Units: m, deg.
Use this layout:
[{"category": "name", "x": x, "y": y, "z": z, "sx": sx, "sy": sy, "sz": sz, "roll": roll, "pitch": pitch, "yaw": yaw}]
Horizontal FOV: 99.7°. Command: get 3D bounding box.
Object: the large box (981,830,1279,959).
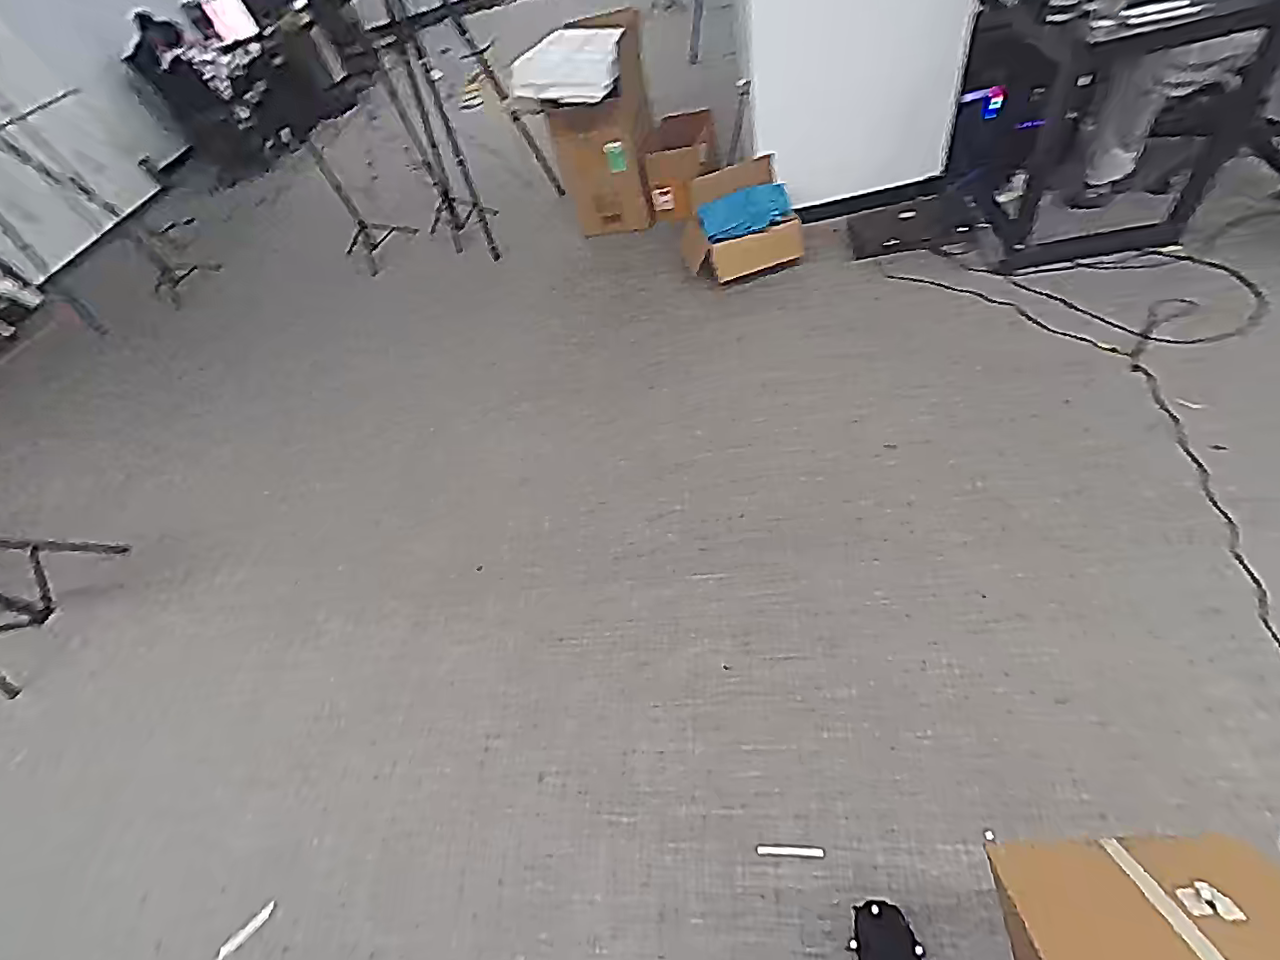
[{"category": "large box", "x": 0.641, "y": 0.656, "z": 0.581, "sx": 0.320, "sy": 0.408, "sz": 0.320, "roll": -13, "pitch": 83, "yaw": 16}]
